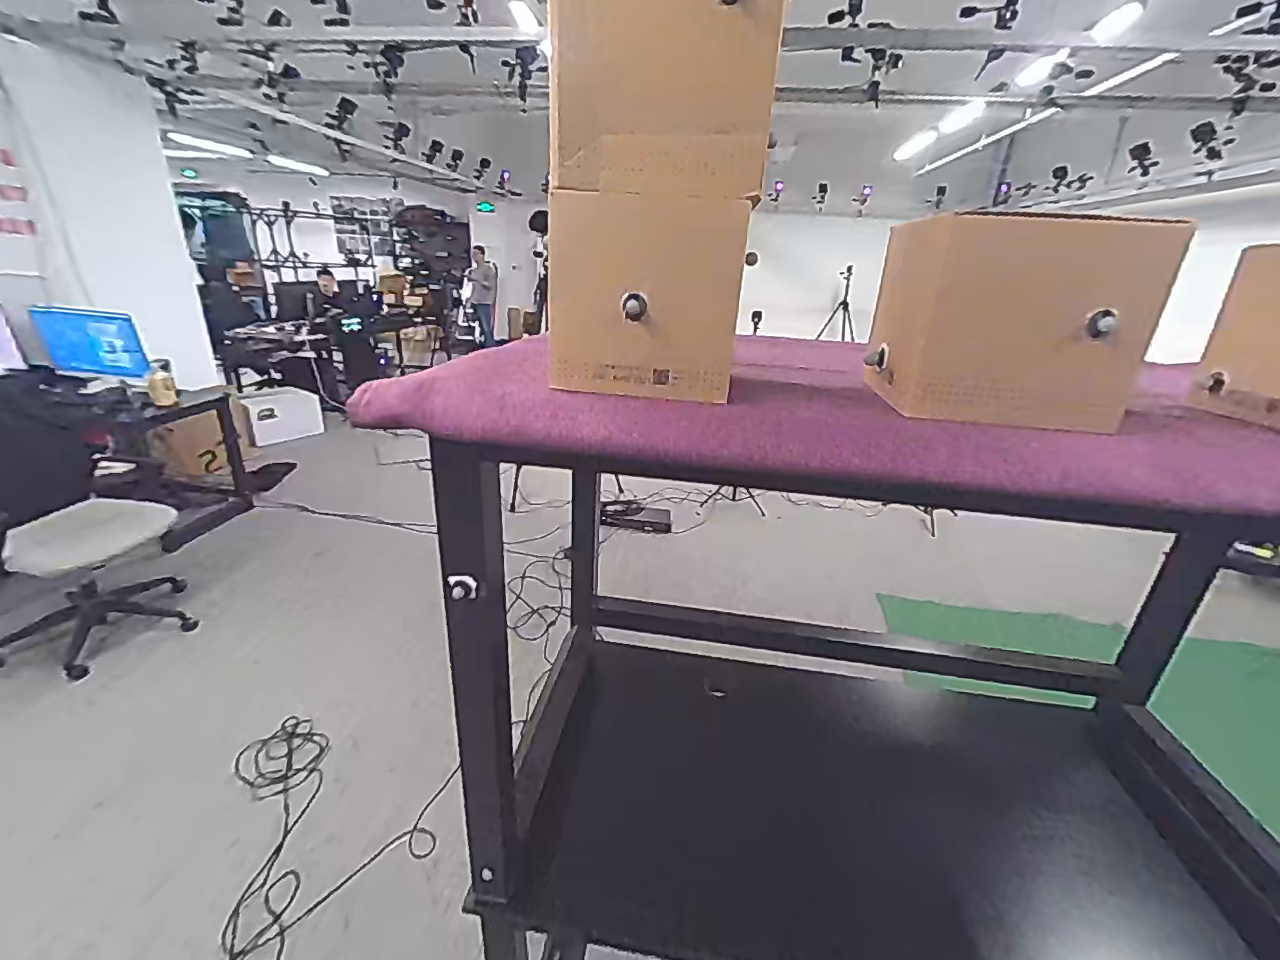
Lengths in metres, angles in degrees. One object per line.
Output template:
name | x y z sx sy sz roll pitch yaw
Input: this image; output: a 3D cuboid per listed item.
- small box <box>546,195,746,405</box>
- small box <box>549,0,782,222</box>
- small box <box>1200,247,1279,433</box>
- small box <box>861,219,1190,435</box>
small box | 0.012 -0.178 0.539 0.168 0.176 0.179 7 23 5
small box | 0.022 -0.328 0.476 0.179 0.176 0.168 6 23 5
small box | 0.678 -0.122 0.491 0.179 0.176 0.168 6 20 8
small box | 0.330 -0.145 0.510 0.179 0.176 0.168 5 22 6
